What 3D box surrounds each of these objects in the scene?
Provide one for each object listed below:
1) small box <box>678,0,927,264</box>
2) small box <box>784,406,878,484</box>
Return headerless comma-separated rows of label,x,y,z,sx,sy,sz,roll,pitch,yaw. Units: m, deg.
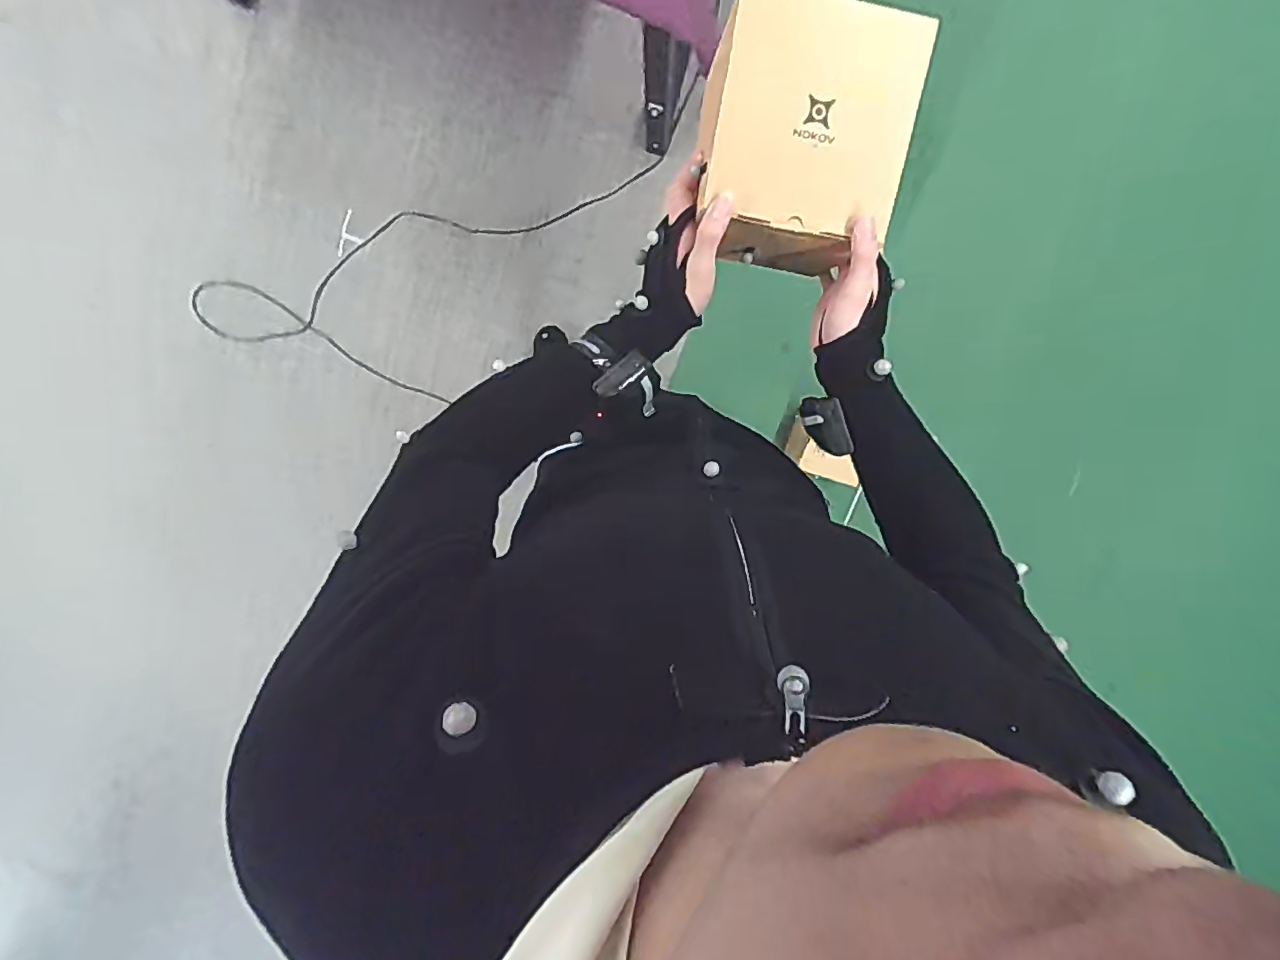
small box,0.135,-0.324,0.524,0.168,0.176,0.179,8,104,-5
small box,0.525,-0.105,1.518,0.179,0.176,0.168,17,102,-4
